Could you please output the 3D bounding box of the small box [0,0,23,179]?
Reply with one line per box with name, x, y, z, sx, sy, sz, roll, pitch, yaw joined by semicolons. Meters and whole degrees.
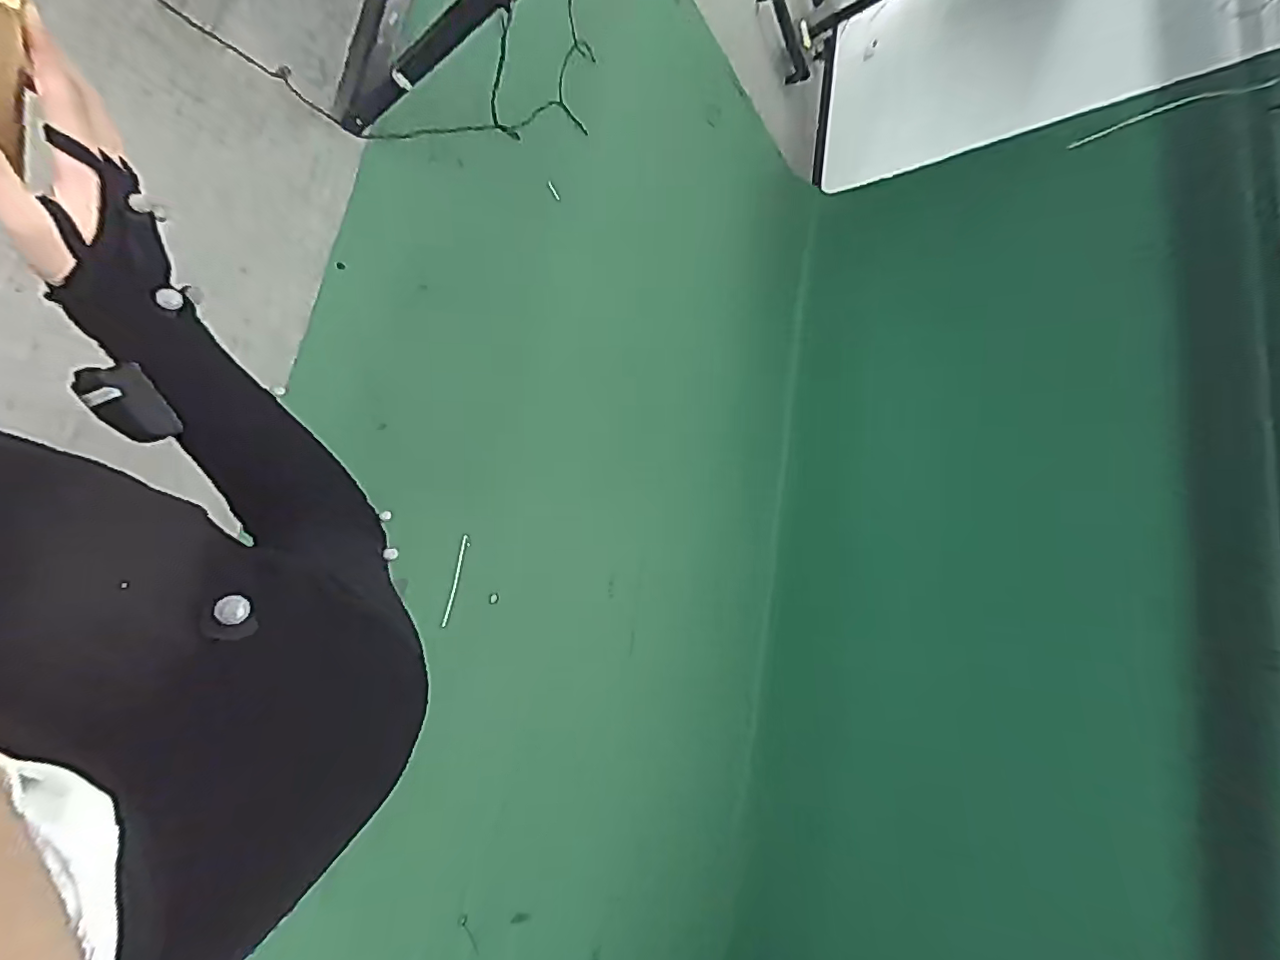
small box;-0.468;-0.313;0.298;0.168;0.176;0.179;-1;71;-49
